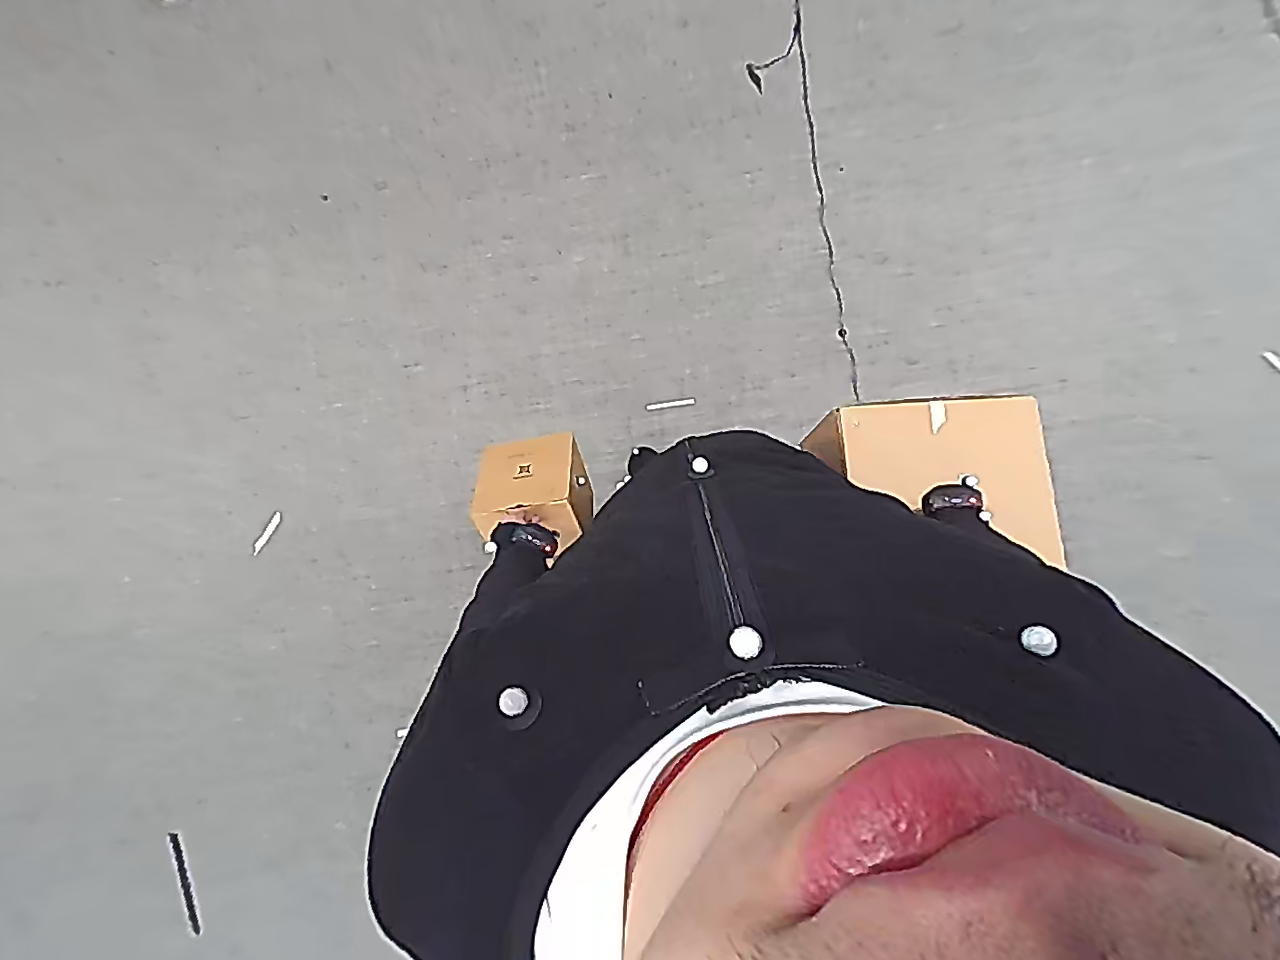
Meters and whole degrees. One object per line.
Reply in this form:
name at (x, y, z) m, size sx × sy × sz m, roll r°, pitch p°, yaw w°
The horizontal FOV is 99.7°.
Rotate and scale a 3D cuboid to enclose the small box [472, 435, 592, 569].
small box at (-0.185, 0.046, 0.986) m, size 0.168 × 0.179 × 0.176 m, roll -9°, pitch 132°, yaw 4°
